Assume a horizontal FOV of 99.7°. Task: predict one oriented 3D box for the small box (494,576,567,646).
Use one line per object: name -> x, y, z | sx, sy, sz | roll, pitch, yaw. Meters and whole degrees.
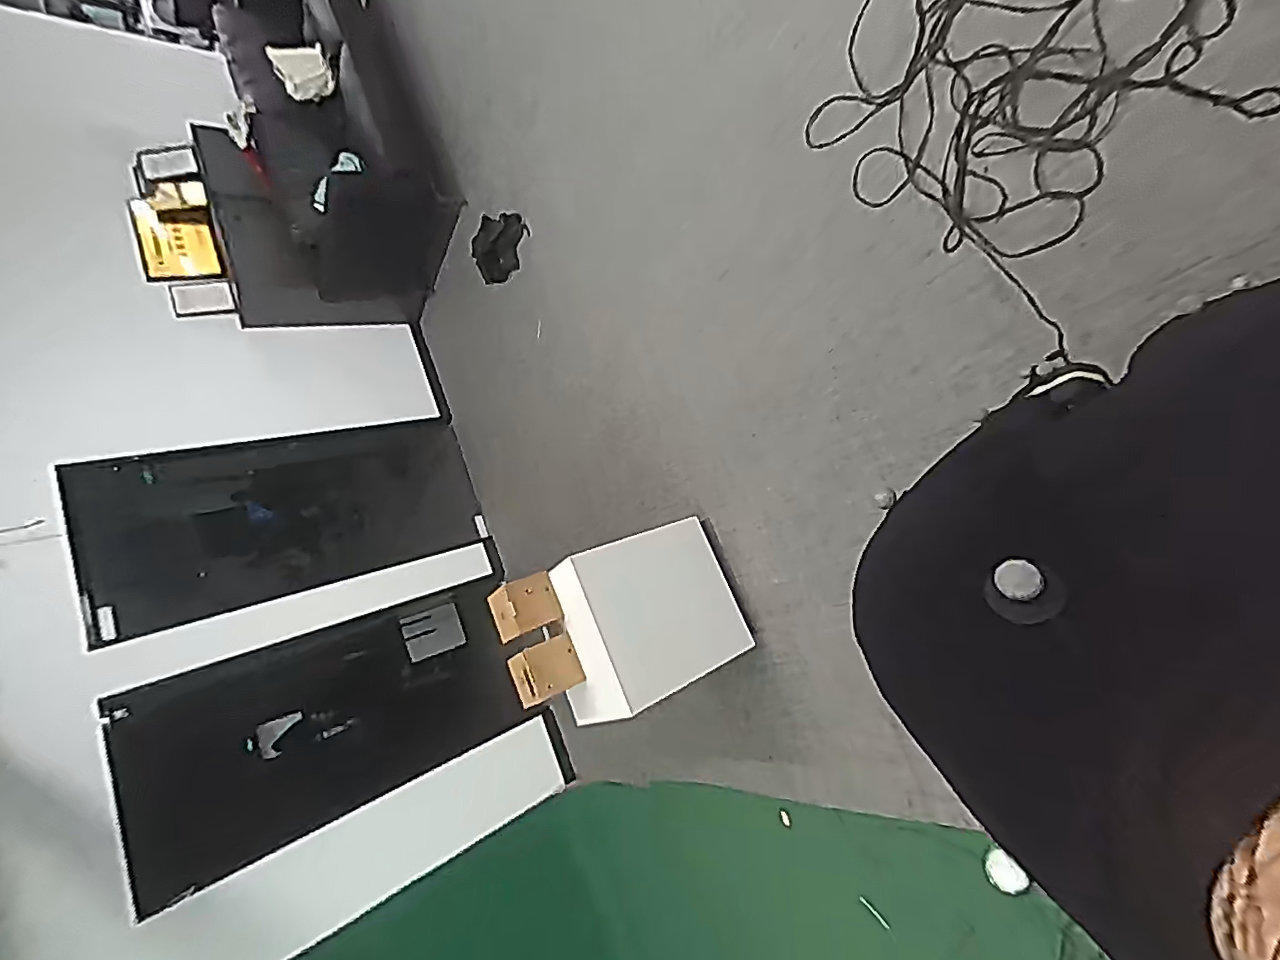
small box -> -0.363, 0.437, 1.816 | 0.179, 0.176, 0.168 | -41, 68, 51
